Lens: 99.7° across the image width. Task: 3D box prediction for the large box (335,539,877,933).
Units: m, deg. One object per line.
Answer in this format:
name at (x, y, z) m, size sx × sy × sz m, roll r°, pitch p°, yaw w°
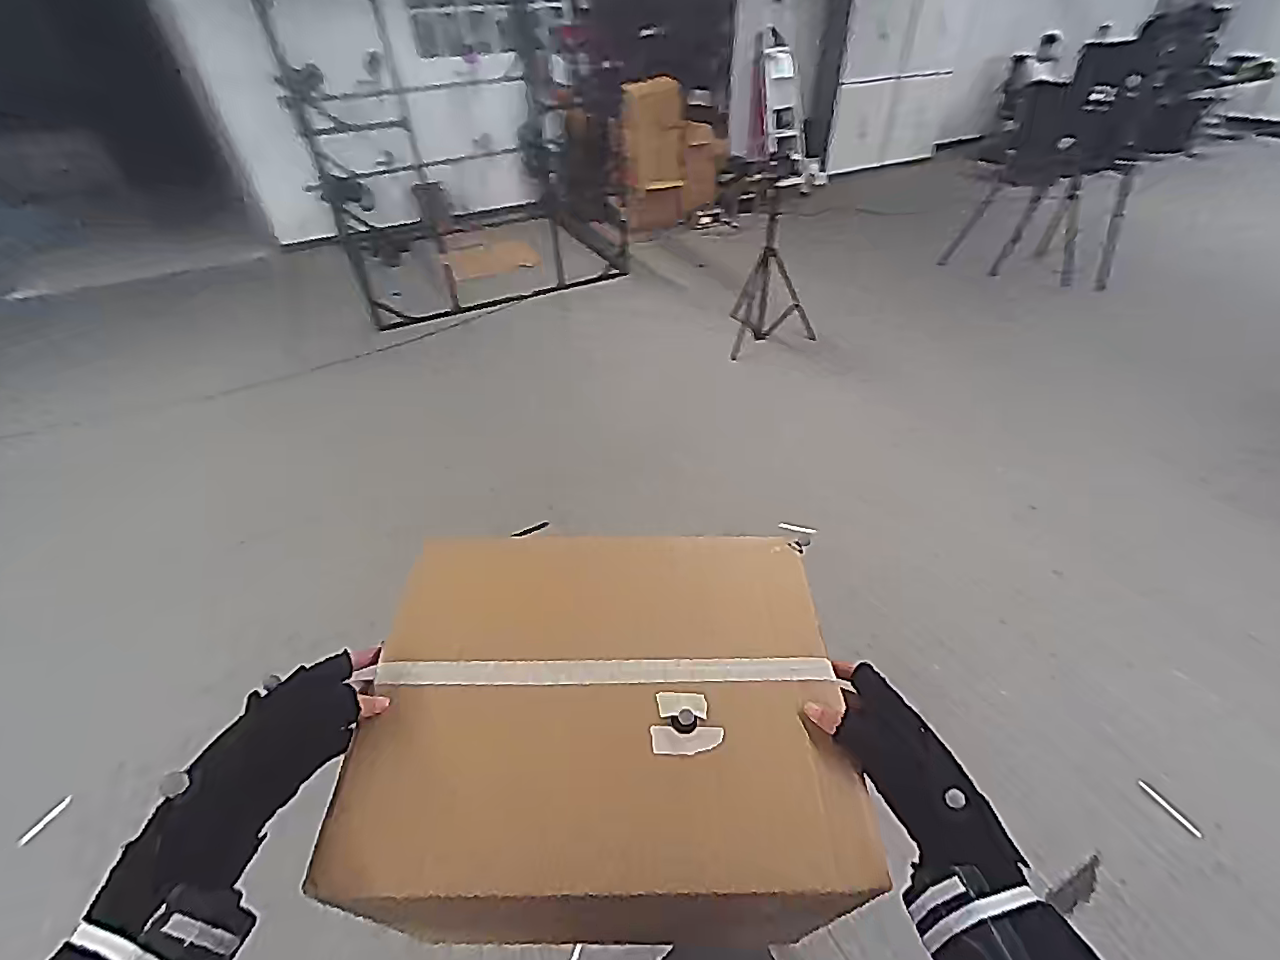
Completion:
large box at (-0.028, 0.281, 0.598) m, size 0.408 × 0.320 × 0.320 m, roll 1°, pitch 45°, yaw 0°
